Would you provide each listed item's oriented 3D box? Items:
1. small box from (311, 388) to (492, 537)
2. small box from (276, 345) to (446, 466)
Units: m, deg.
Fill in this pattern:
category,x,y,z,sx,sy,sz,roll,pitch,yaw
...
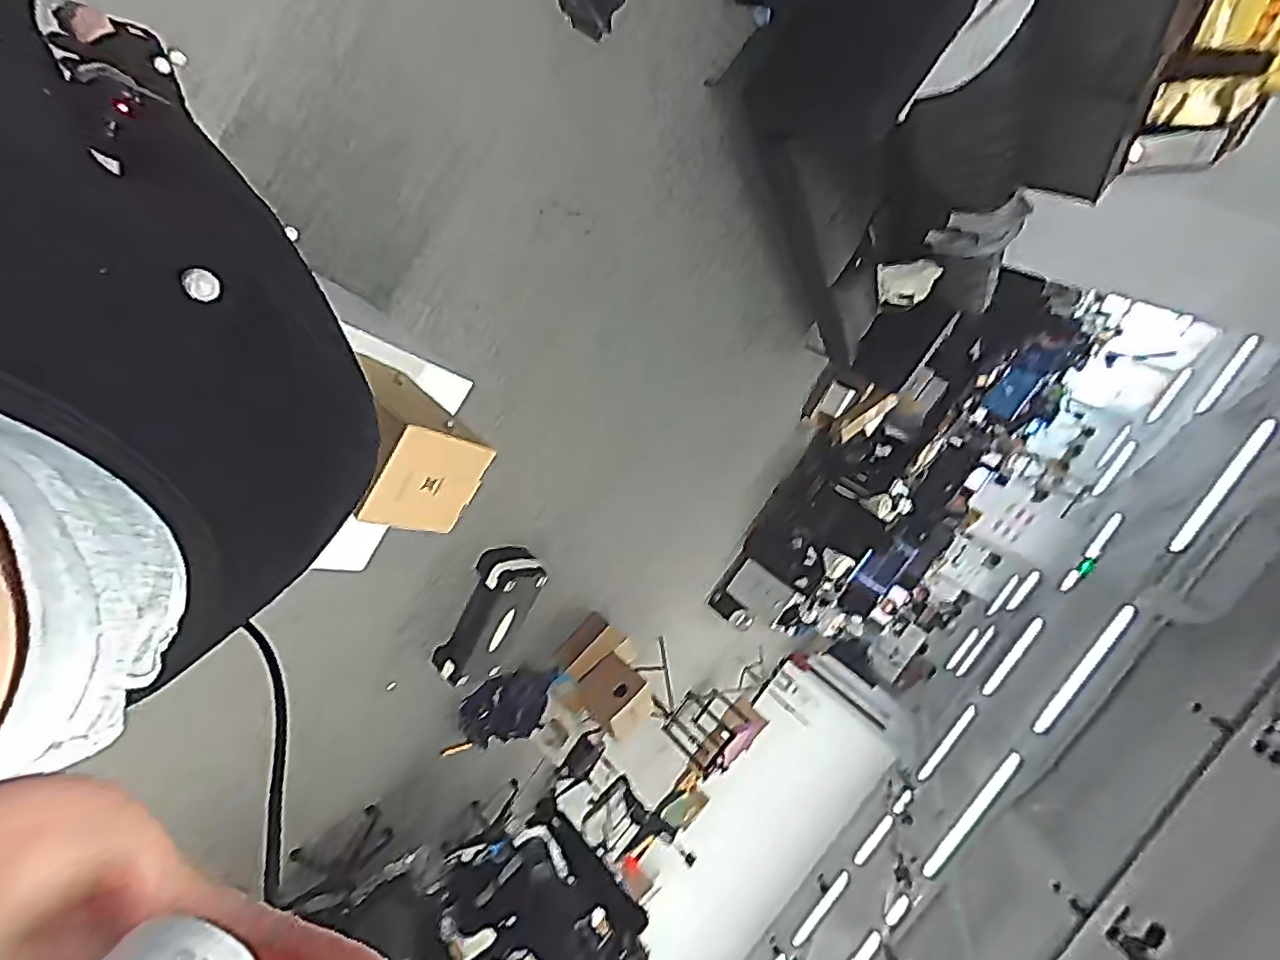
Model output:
category,x,y,z,sx,sy,sz,roll,pitch,yaw
small box,-0.382,-0.027,0.870,0.168,0.176,0.179,-58,149,7
small box,-0.491,-0.112,0.955,0.168,0.176,0.179,-57,151,6
